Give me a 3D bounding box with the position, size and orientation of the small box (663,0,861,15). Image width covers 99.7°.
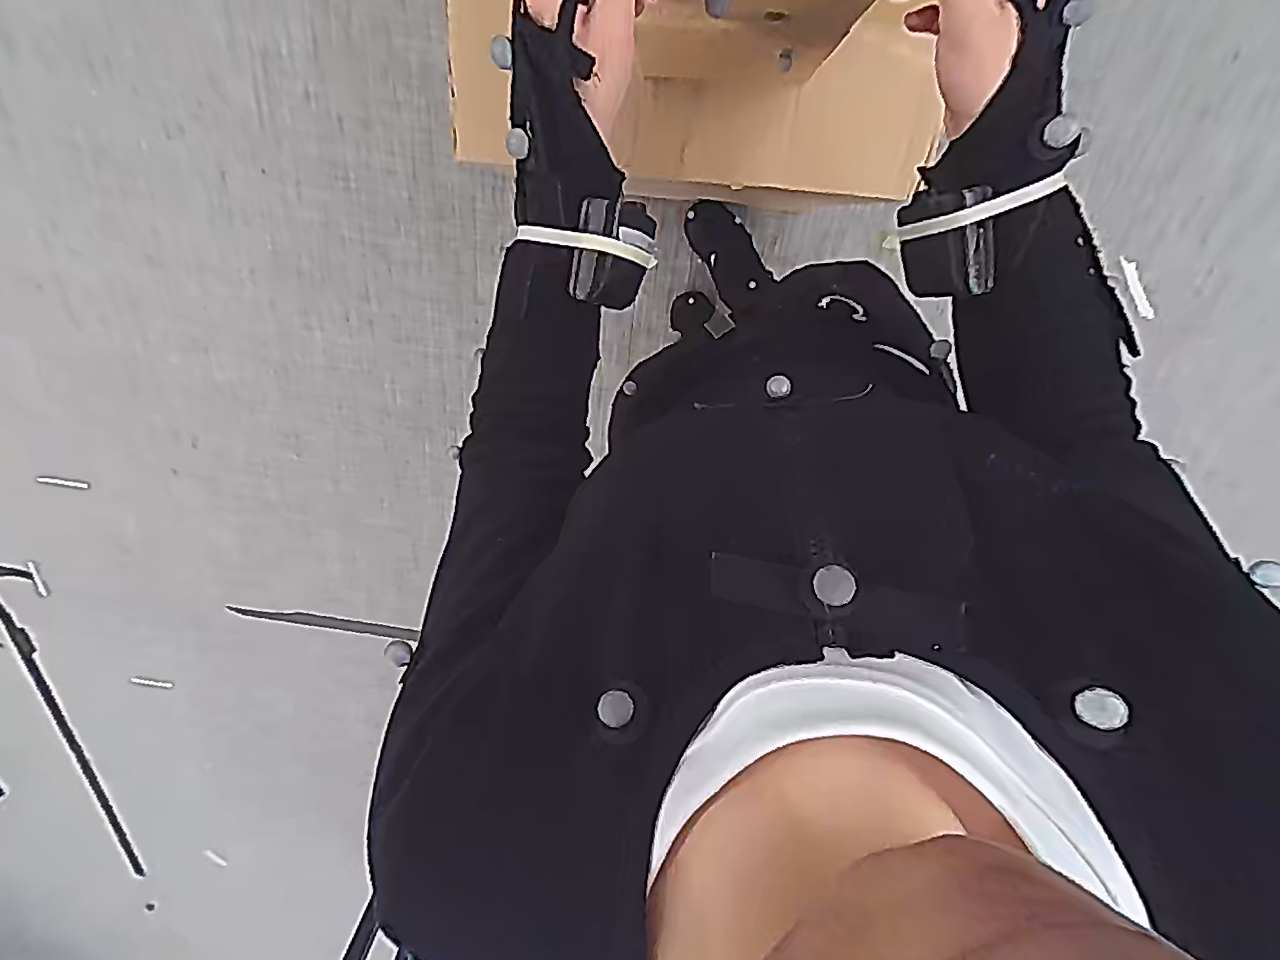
[{"bbox_3d":[0.076,-0.383,0.290,0.168,0.176,0.179,4,116,3],"label":"small box"}]
